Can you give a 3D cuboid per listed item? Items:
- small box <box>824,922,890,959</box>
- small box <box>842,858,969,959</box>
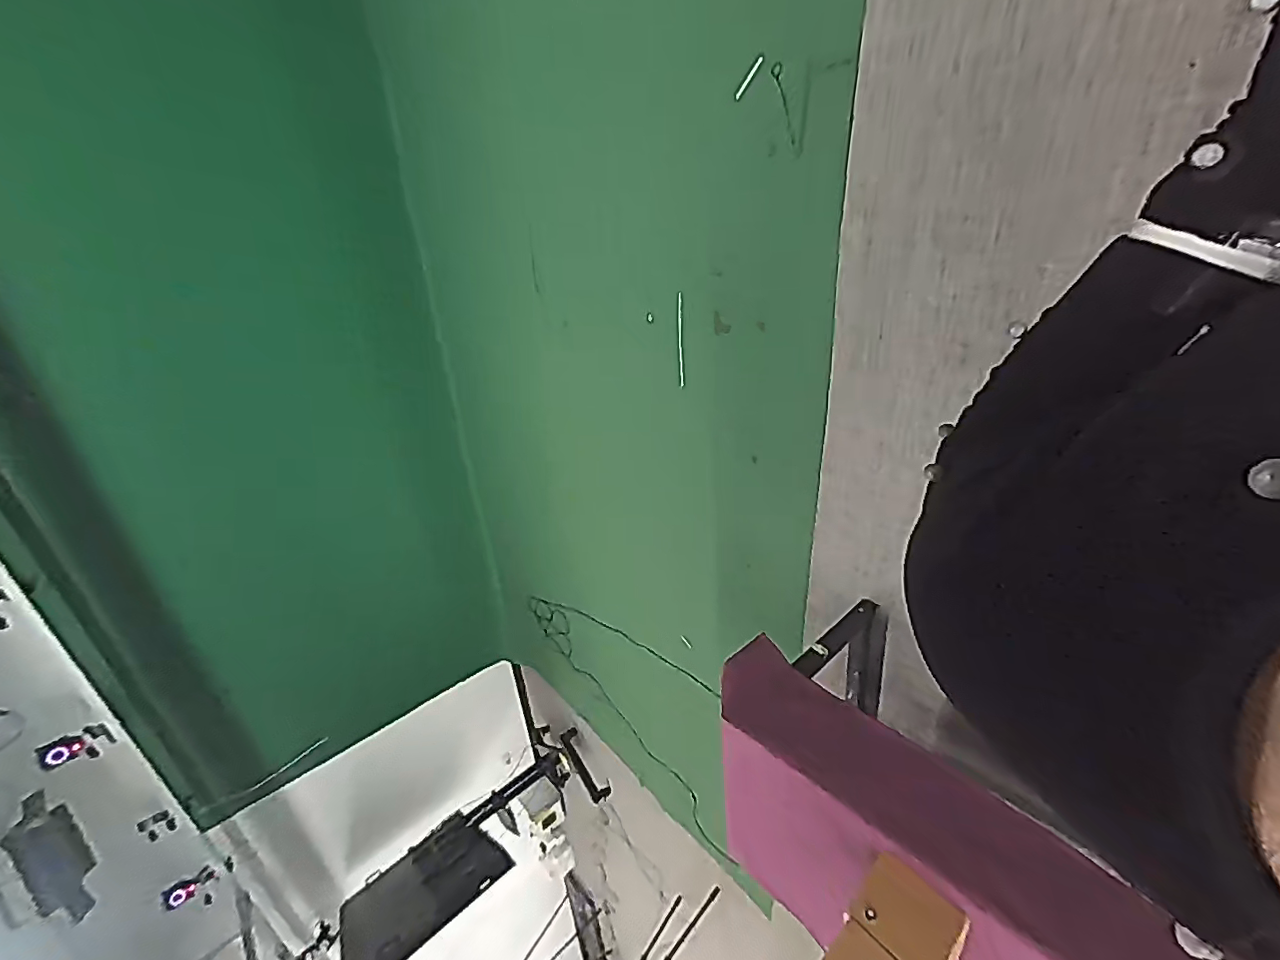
[{"bbox_3d":[0.410,0.983,0.992,0.179,0.176,0.168,27,130,42],"label":"small box"},{"bbox_3d":[0.530,0.924,1.089,0.179,0.176,0.168,23,128,45],"label":"small box"}]
